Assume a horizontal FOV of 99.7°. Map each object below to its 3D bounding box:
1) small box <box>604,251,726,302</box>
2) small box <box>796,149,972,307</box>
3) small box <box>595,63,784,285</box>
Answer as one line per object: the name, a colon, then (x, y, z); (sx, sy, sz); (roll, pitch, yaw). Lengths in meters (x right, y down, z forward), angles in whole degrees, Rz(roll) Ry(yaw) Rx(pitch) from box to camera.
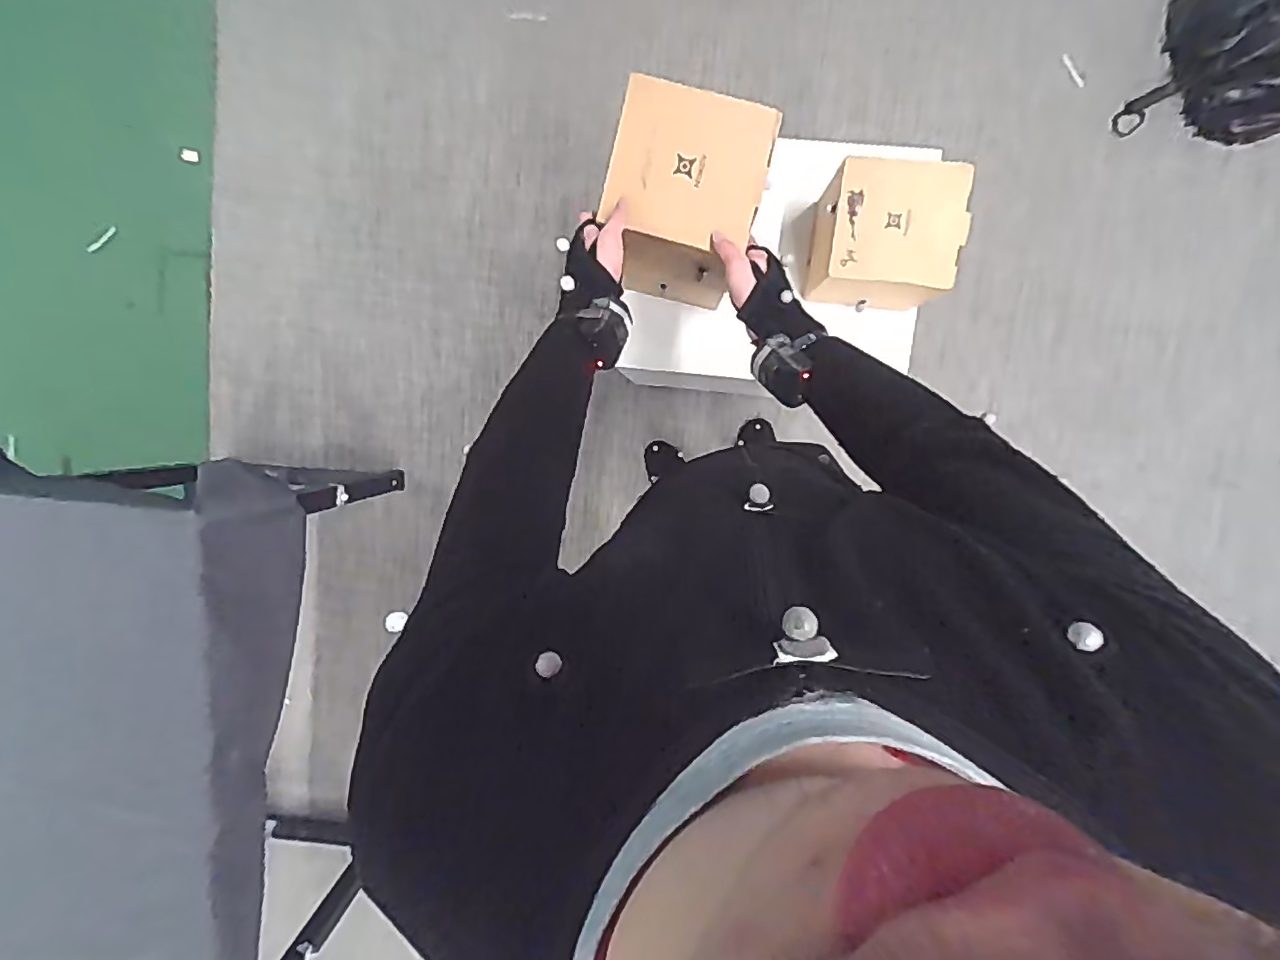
small box: (0.054, -0.382, 0.824); (0.179, 0.176, 0.168); (14, 96, 0)
small box: (0.354, -0.366, 0.817); (0.179, 0.176, 0.168); (7, 97, 1)
small box: (0.054, -0.354, 0.664); (0.179, 0.176, 0.168); (13, 95, 0)
